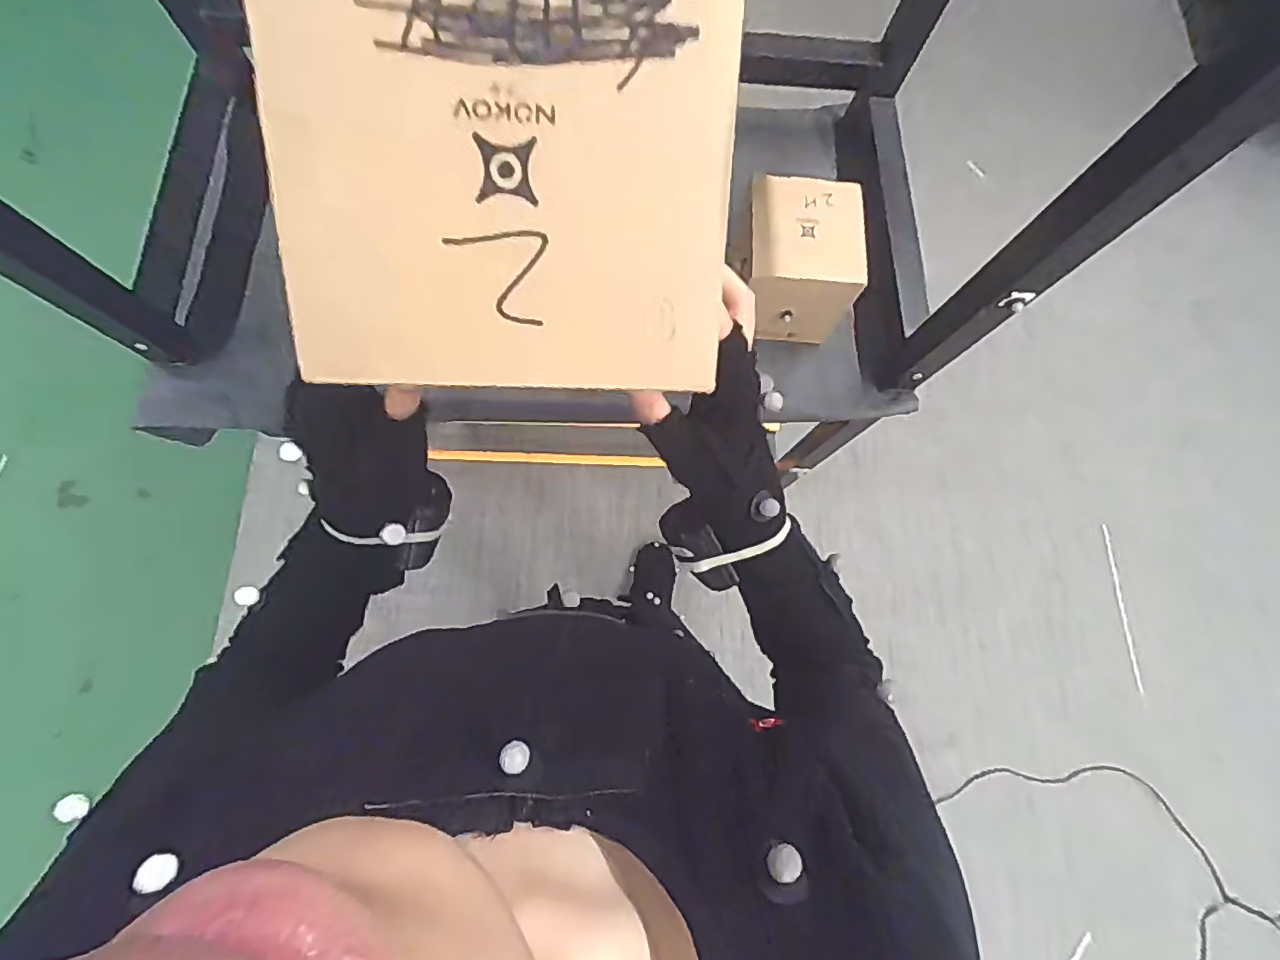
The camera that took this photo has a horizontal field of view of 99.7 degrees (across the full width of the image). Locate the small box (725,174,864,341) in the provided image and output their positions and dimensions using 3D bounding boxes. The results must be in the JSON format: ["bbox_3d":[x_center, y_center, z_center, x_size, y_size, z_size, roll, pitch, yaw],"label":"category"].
[{"bbox_3d":[0.233,-0.338,0.849,0.168,0.176,0.179,4,74,-3],"label":"small box"}]
